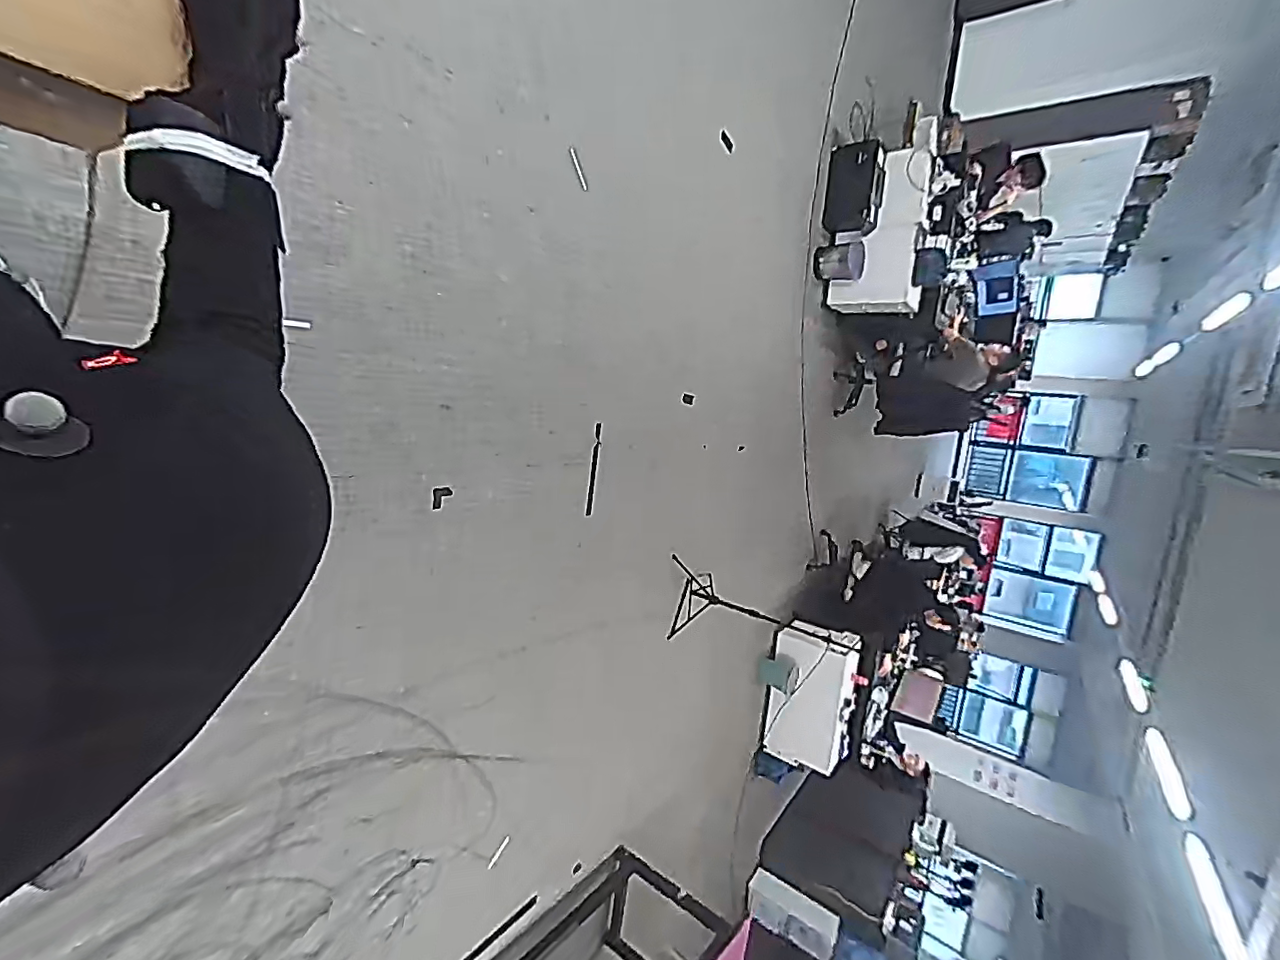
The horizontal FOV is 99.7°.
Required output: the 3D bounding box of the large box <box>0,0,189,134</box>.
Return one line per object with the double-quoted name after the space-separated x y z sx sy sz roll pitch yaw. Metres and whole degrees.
-0.547 -0.450 0.294 0.408 0.320 0.320 -6 112 -54 "large box"
